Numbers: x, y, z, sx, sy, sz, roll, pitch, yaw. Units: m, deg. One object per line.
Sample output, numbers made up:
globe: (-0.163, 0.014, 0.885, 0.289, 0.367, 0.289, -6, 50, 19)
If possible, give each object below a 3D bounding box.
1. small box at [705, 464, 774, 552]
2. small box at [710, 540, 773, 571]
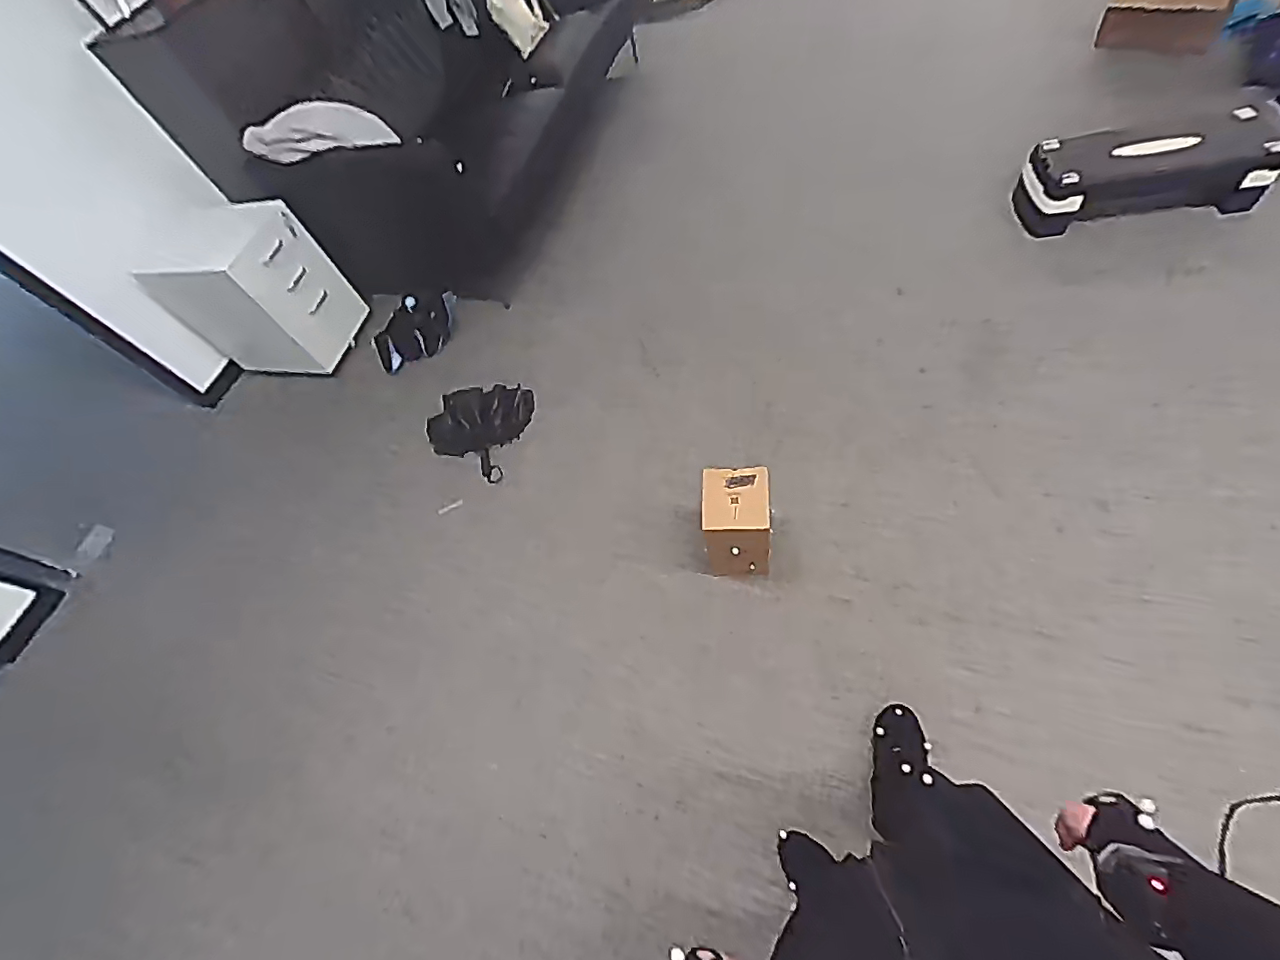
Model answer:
small box: (0.262, 0.076, 1.409, 0.168, 0.176, 0.179, -2, 61, 14)
small box: (0.293, 0.154, 1.551, 0.168, 0.176, 0.179, -3, 58, 13)
